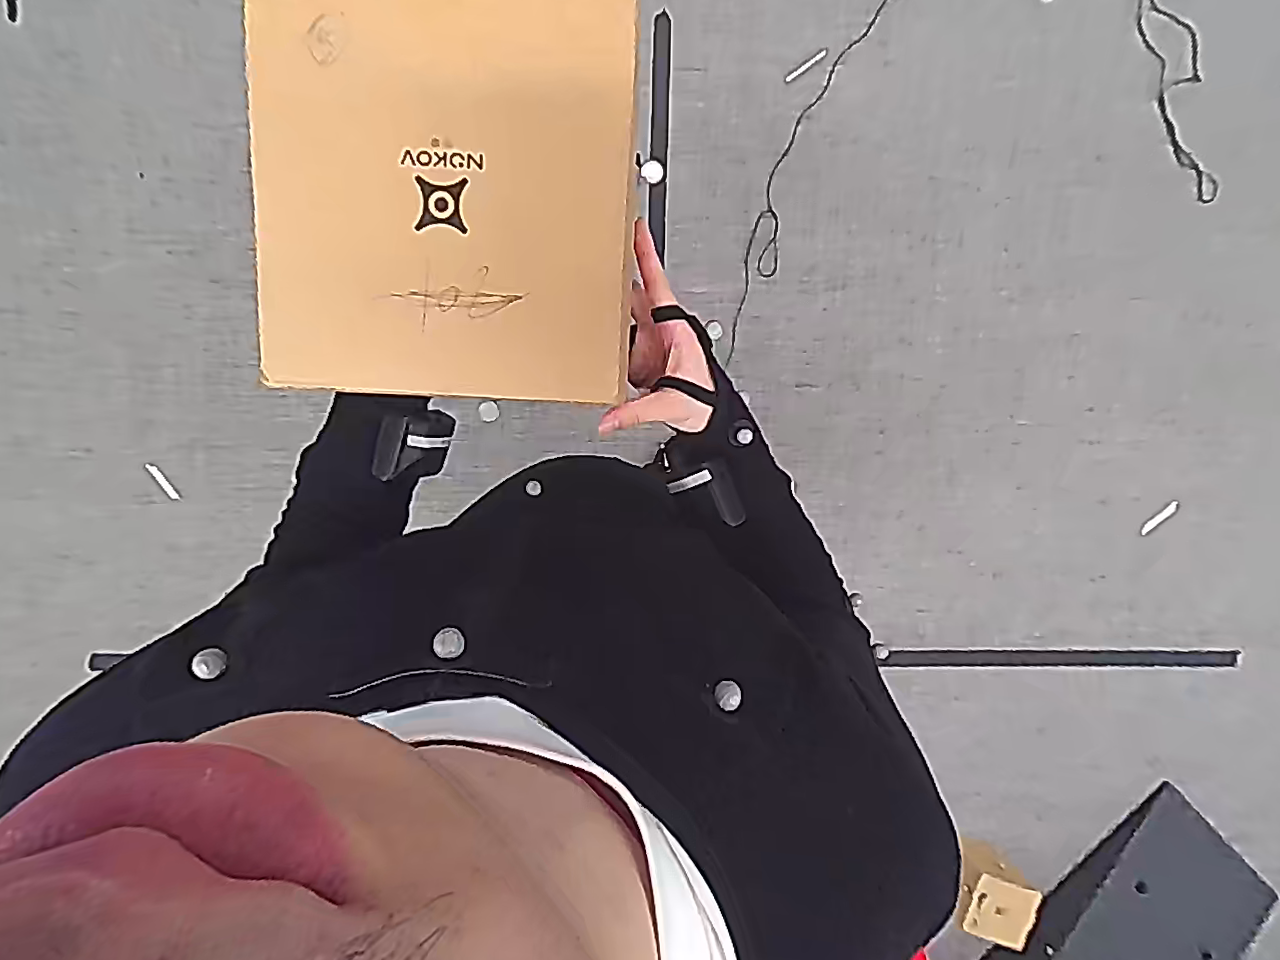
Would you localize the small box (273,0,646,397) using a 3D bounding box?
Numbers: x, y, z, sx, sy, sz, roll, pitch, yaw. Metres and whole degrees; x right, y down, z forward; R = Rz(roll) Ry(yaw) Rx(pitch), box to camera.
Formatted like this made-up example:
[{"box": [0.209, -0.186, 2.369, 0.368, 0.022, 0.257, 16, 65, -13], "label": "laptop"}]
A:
[{"box": [-0.085, -0.144, 0.329, 0.168, 0.176, 0.179, 3, 99, 0], "label": "small box"}]
